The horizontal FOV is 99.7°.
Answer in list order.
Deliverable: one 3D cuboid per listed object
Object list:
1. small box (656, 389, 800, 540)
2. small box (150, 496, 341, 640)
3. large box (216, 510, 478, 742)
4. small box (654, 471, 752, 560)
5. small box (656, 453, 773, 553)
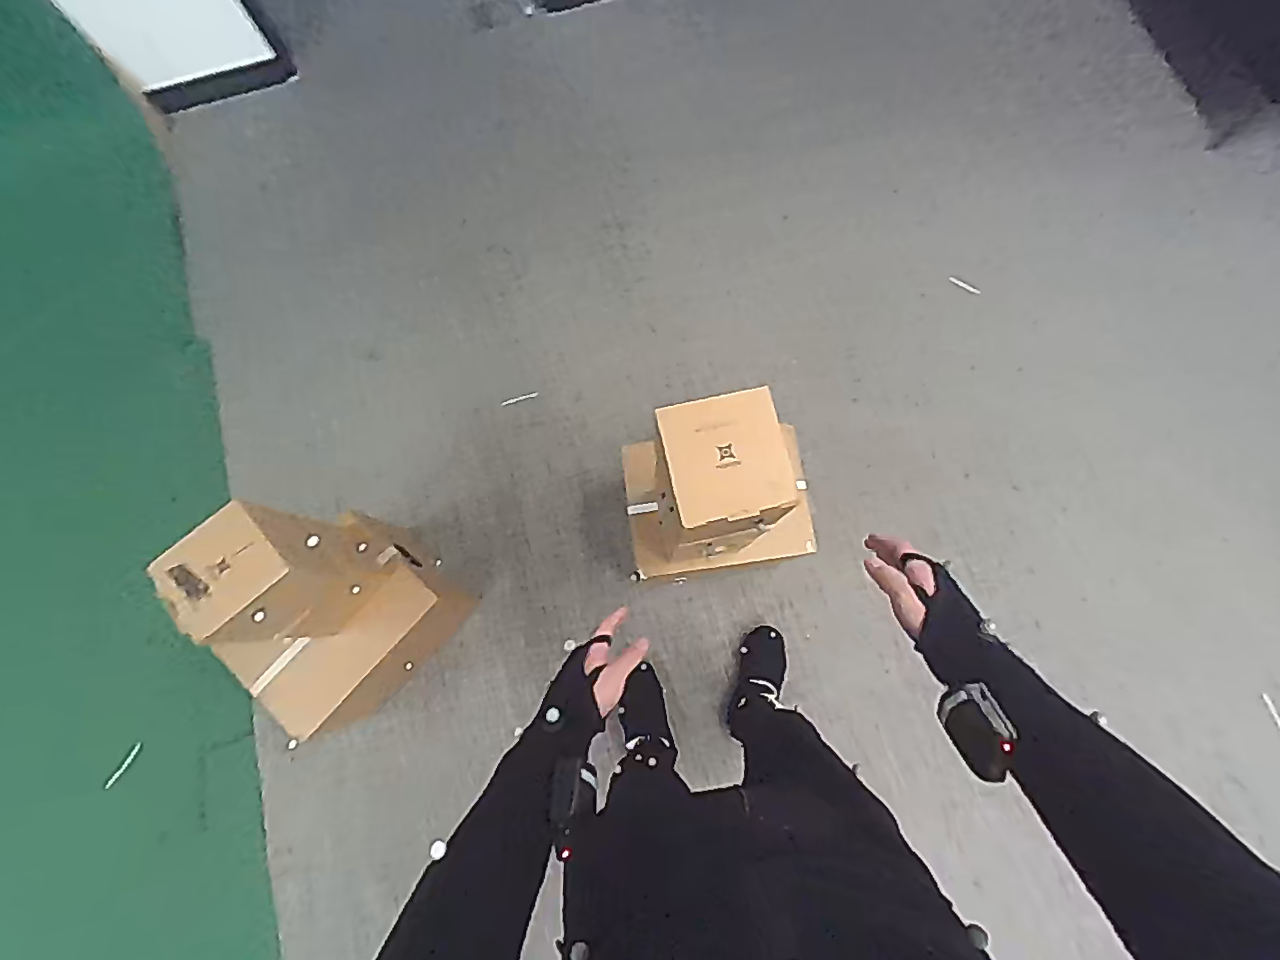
[{"bbox_3d":[0.120,-0.012,0.811,0.168,0.176,0.179,-11,76,-3],"label":"small box"},{"bbox_3d":[-0.675,0.158,0.947,0.179,0.176,0.168,-41,79,-9],"label":"small box"},{"bbox_3d":[-0.679,0.338,1.325,0.320,0.320,0.408,40,81,11],"label":"large box"},{"bbox_3d":[0.124,0.069,1.127,0.168,0.176,0.179,-10,77,-2],"label":"small box"},{"bbox_3d":[0.125,0.031,0.969,0.168,0.176,0.179,-11,76,-1],"label":"small box"}]
